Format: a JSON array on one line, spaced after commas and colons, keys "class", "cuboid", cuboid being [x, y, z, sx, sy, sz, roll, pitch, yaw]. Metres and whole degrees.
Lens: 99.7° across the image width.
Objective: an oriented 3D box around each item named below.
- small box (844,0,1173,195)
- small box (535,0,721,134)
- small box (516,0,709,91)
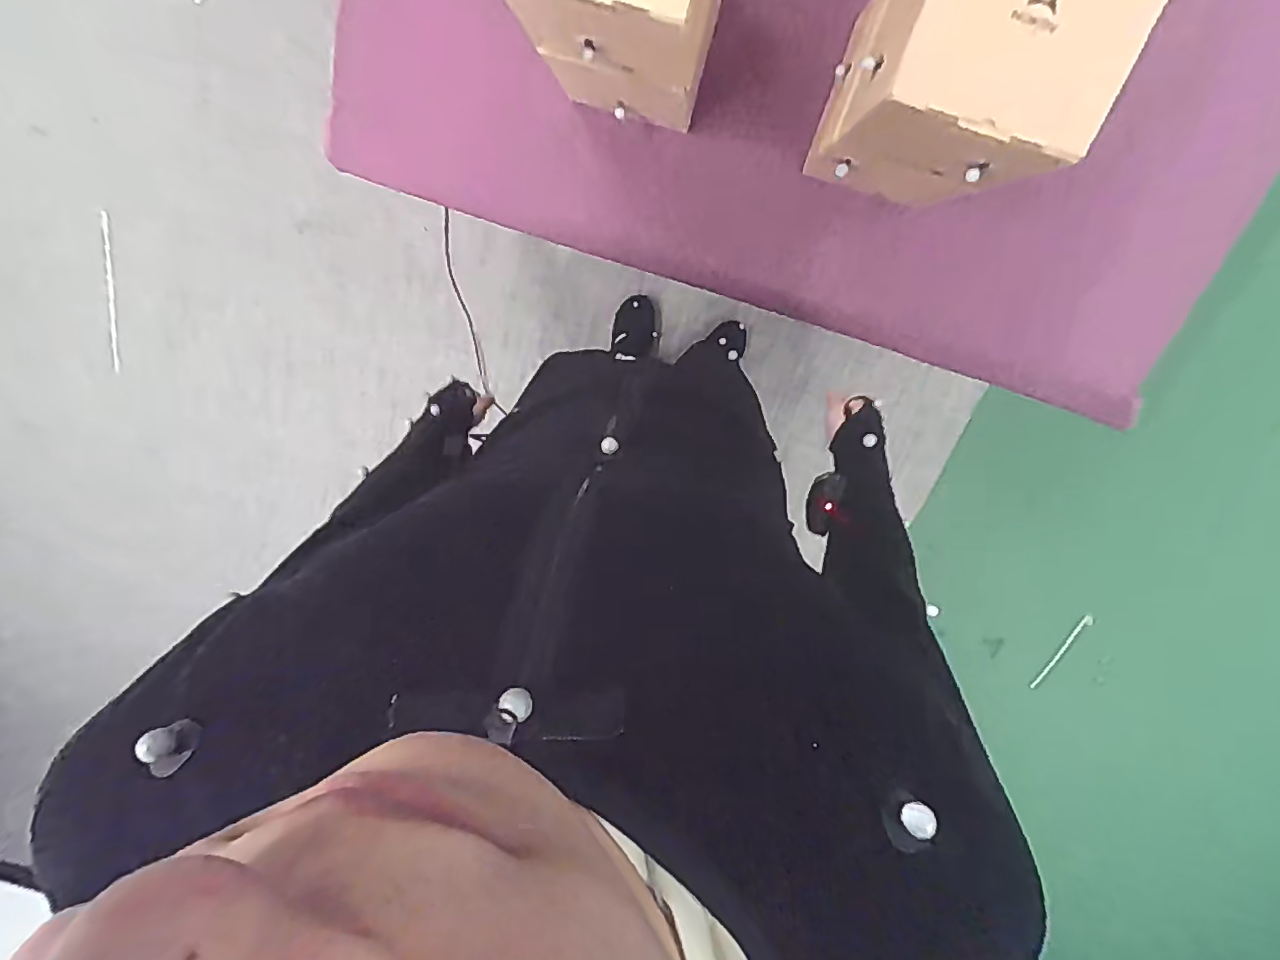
[{"class": "small box", "cuboid": [0.298, -0.369, 0.466, 0.168, 0.176, 0.179, 18, 110, -3]}, {"class": "small box", "cuboid": [-0.003, -0.526, 0.607, 0.168, 0.176, 0.179, 17, 111, -1]}, {"class": "small box", "cuboid": [-0.015, -0.471, 0.454, 0.168, 0.176, 0.179, 16, 112, -2]}]
